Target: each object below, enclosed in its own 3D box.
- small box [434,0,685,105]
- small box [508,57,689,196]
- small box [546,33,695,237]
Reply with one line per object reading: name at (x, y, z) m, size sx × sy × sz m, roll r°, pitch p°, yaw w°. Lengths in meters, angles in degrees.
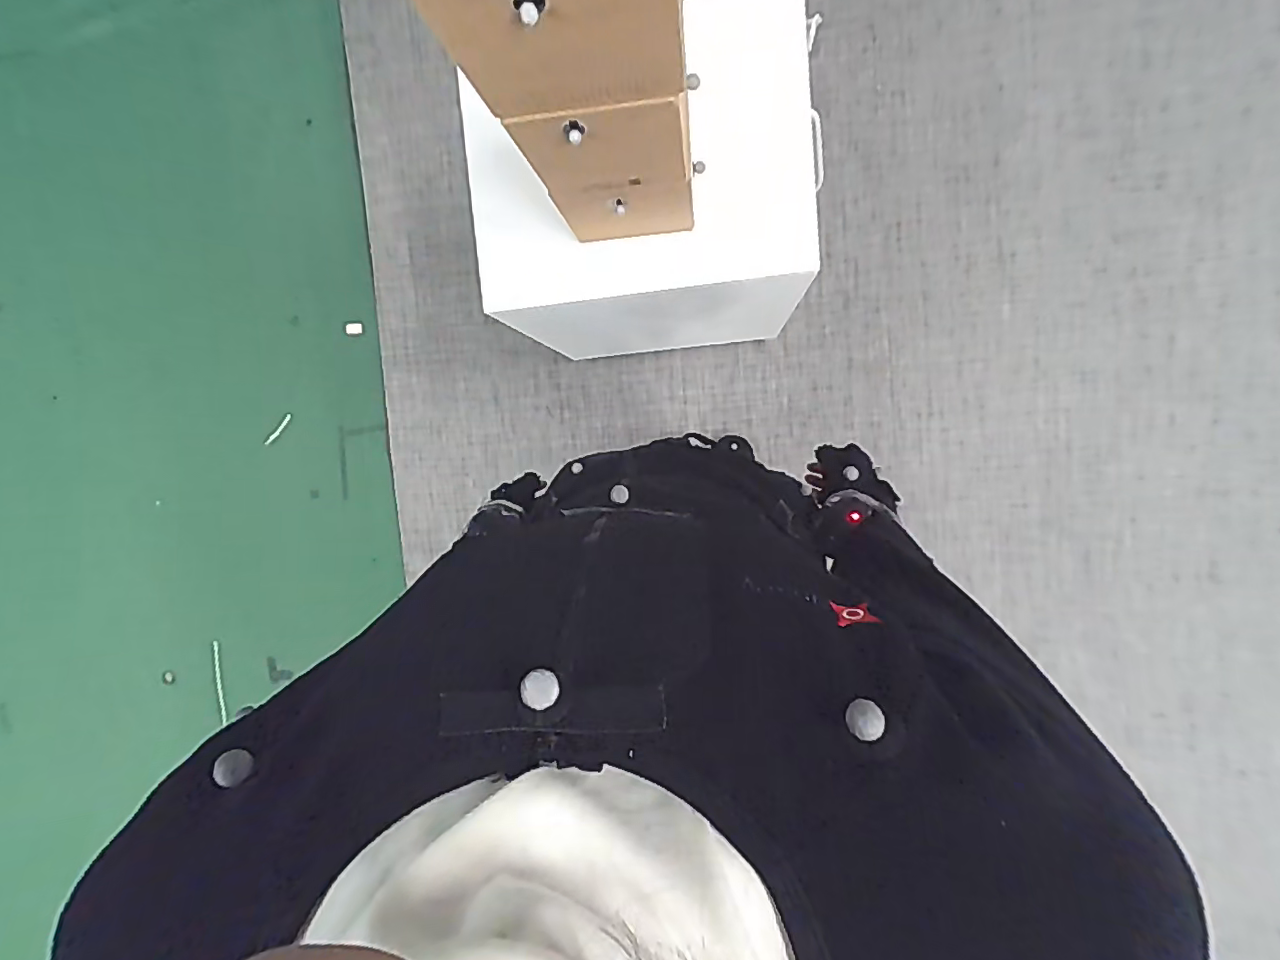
small box at (-0.062, -0.411, 0.395) m, size 0.179 × 0.176 × 0.168 m, roll -2°, pitch 96°, yaw 8°
small box at (-0.037, -0.427, 0.560) m, size 0.168 × 0.176 × 0.179 m, roll -5°, pitch 95°, yaw 7°
small box at (-0.020, -0.440, 0.719) m, size 0.179 × 0.176 × 0.168 m, roll -3°, pitch 95°, yaw 7°
